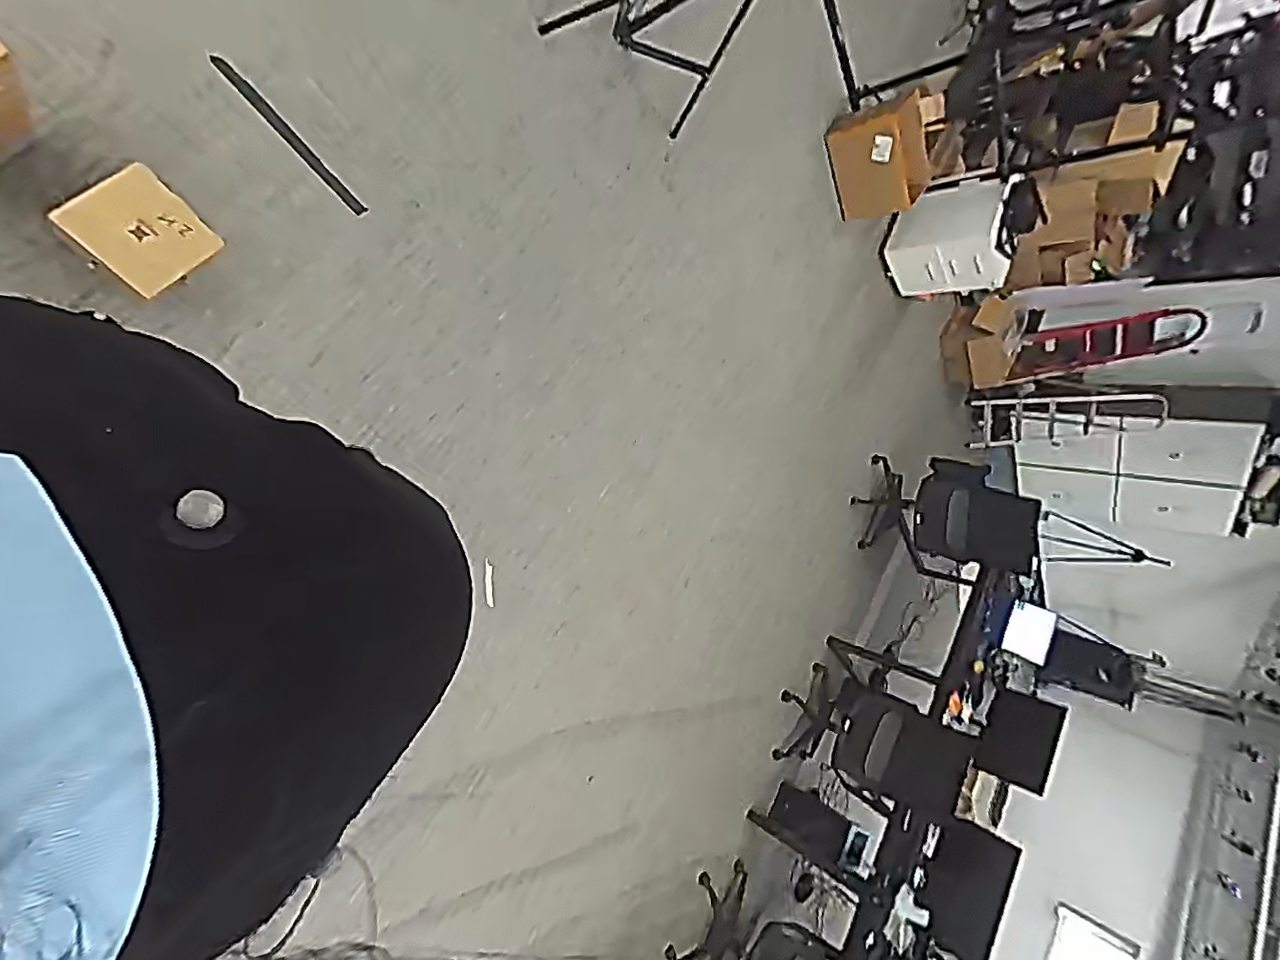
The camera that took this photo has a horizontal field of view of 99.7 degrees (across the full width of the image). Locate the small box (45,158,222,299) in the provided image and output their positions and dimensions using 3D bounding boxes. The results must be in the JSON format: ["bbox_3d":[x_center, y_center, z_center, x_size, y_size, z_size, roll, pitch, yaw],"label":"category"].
[{"bbox_3d":[-0.937,-0.459,1.013,0.179,0.176,0.168,-54,131,-22],"label":"small box"}]
